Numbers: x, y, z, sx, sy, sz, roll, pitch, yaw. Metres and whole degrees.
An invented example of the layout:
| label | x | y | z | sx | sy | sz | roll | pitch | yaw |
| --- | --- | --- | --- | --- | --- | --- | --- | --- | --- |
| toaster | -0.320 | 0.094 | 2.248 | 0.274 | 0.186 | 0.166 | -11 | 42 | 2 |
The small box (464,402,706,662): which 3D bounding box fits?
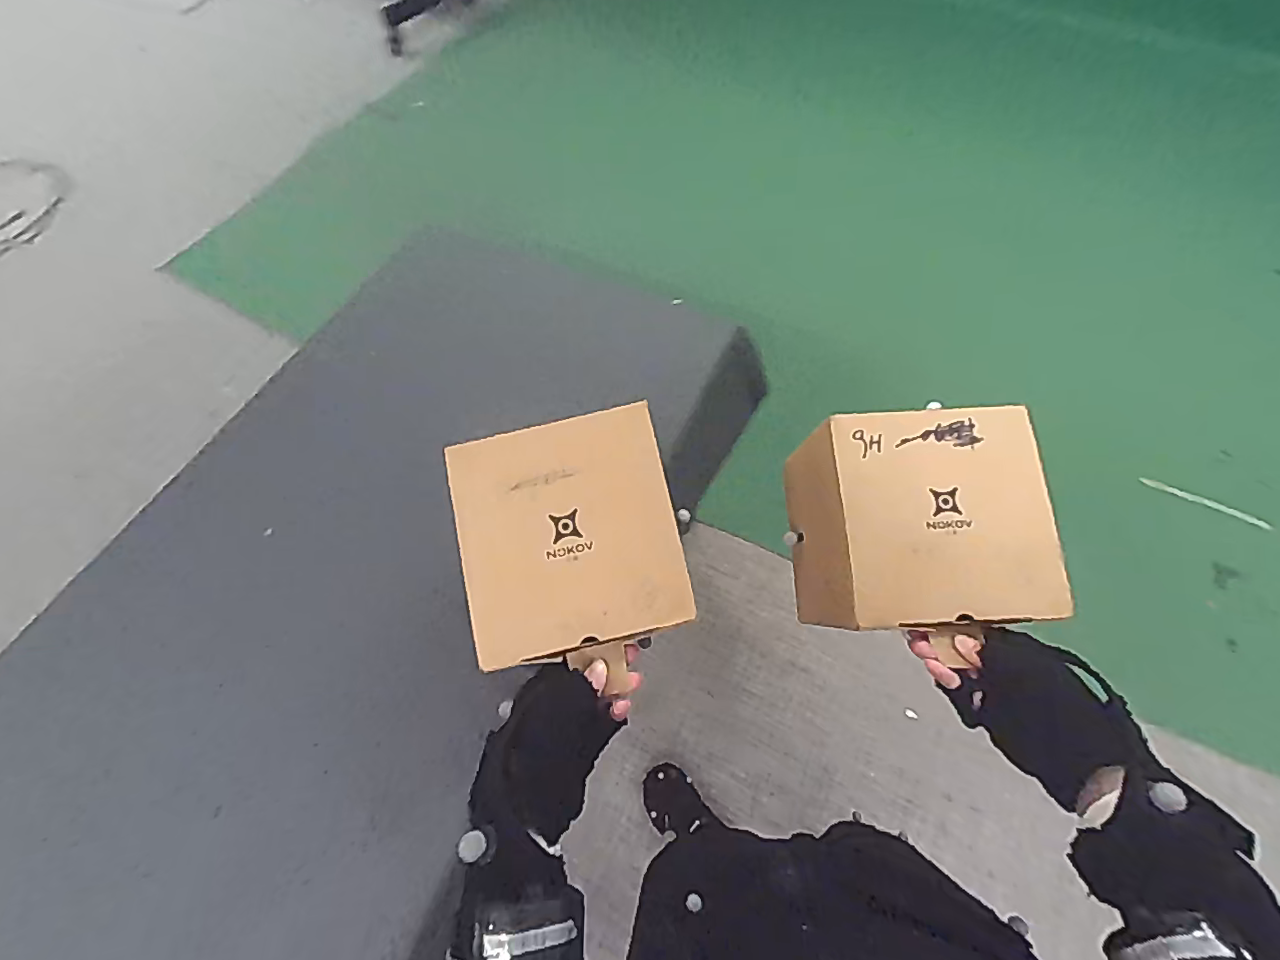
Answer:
| label | x | y | z | sx | sy | sz | roll | pitch | yaw |
| --- | --- | --- | --- | --- | --- | --- | --- | --- | --- |
| small box | -0.042 | 0.052 | 0.496 | 0.168 | 0.176 | 0.179 | -13 | 77 | -1 |
